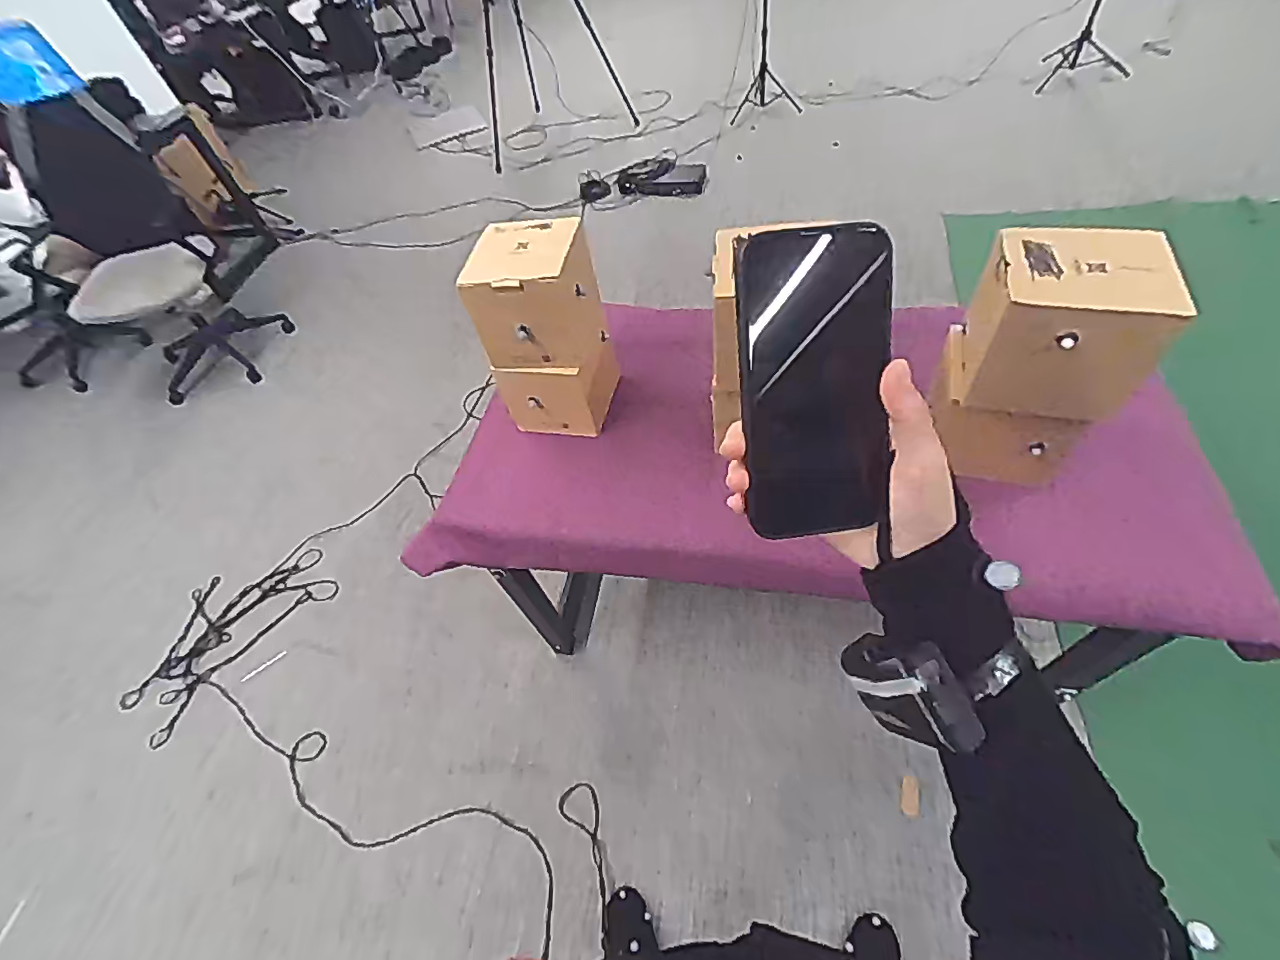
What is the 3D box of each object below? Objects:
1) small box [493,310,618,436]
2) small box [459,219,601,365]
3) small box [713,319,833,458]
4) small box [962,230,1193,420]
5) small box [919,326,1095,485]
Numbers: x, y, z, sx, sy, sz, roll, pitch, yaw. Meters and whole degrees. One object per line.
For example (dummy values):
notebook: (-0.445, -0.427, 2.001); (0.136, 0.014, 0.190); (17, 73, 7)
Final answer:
small box: (-0.148, -0.202, 1.030); (0.168, 0.176, 0.179); (6, 54, 14)
small box: (-0.170, -0.307, 0.906); (0.168, 0.176, 0.179); (2, 54, 11)
small box: (0.225, -0.153, 0.923); (0.179, 0.176, 0.168); (5, 54, 14)
small box: (0.532, -0.197, 0.694); (0.179, 0.176, 0.168); (10, 55, 17)
small box: (0.551, -0.112, 0.833); (0.179, 0.176, 0.168); (10, 55, 18)
